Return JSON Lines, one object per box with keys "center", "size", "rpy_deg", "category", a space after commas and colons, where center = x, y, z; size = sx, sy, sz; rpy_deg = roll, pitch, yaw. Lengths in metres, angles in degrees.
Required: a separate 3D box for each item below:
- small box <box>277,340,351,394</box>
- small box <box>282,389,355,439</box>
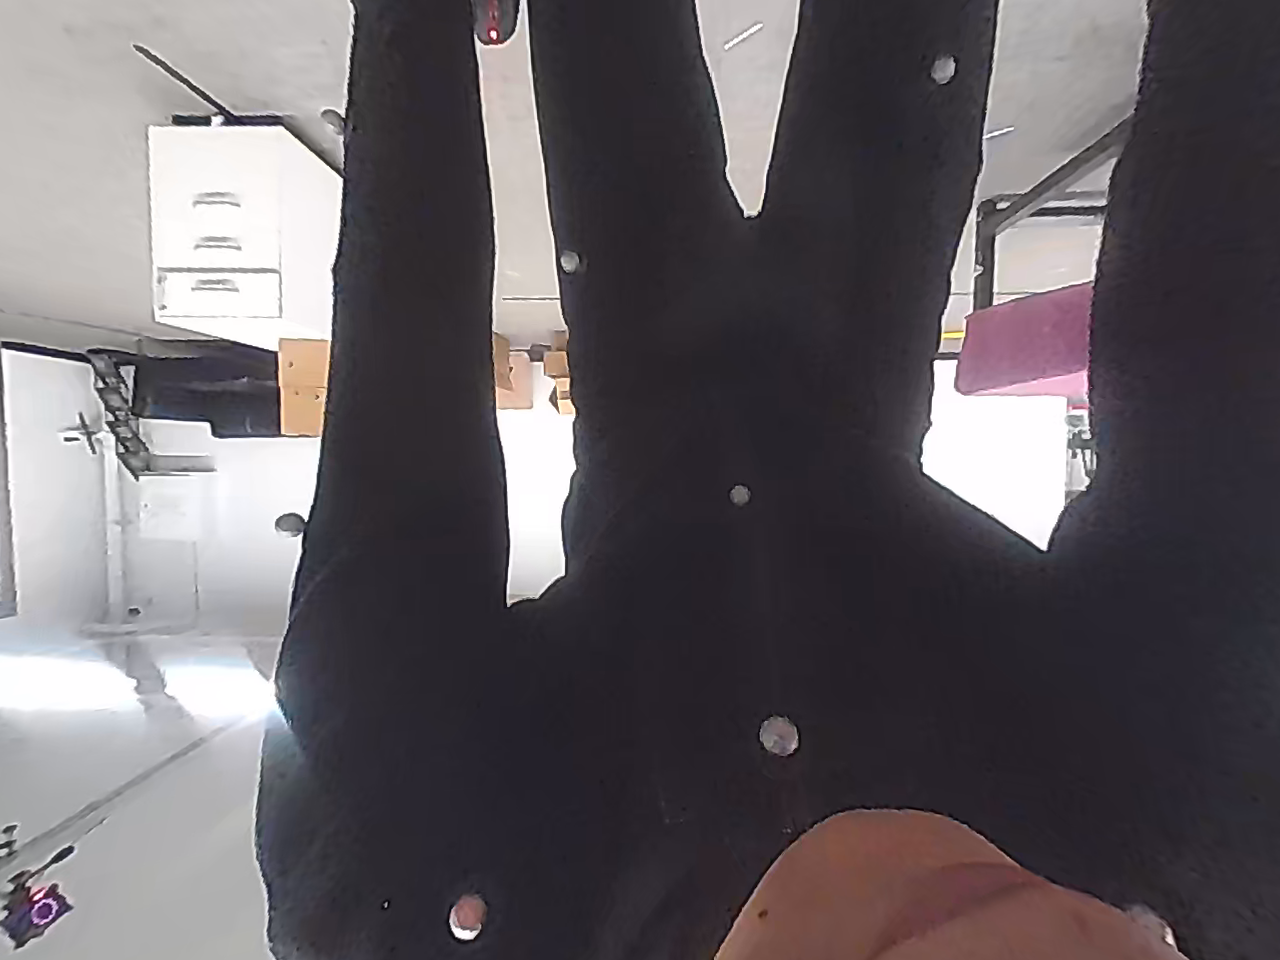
{"center": [-1.155, -0.399, 1.927], "size": [0.179, 0.176, 0.168], "rpy_deg": [1, -176, 0], "category": "small box"}
{"center": [-1.157, -0.236, 1.943], "size": [0.168, 0.176, 0.179], "rpy_deg": [2, -175, 4], "category": "small box"}
